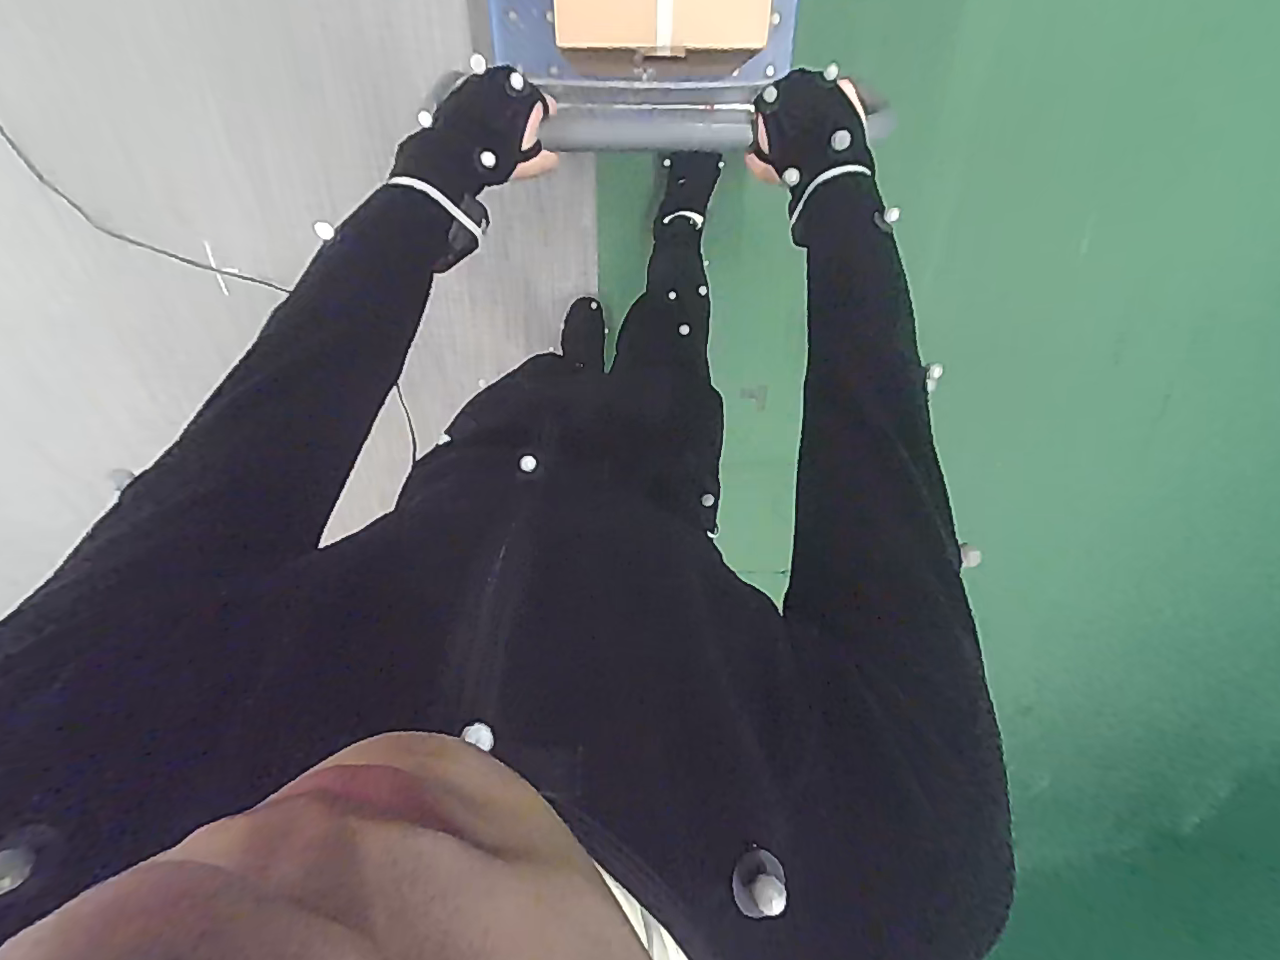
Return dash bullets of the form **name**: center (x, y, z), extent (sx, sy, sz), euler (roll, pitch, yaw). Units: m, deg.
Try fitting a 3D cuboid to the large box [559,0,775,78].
- **large box**: center (0.036, -0.886, 0.827), extent (0.320, 0.320, 0.408), euler (-1, 120, -1)
